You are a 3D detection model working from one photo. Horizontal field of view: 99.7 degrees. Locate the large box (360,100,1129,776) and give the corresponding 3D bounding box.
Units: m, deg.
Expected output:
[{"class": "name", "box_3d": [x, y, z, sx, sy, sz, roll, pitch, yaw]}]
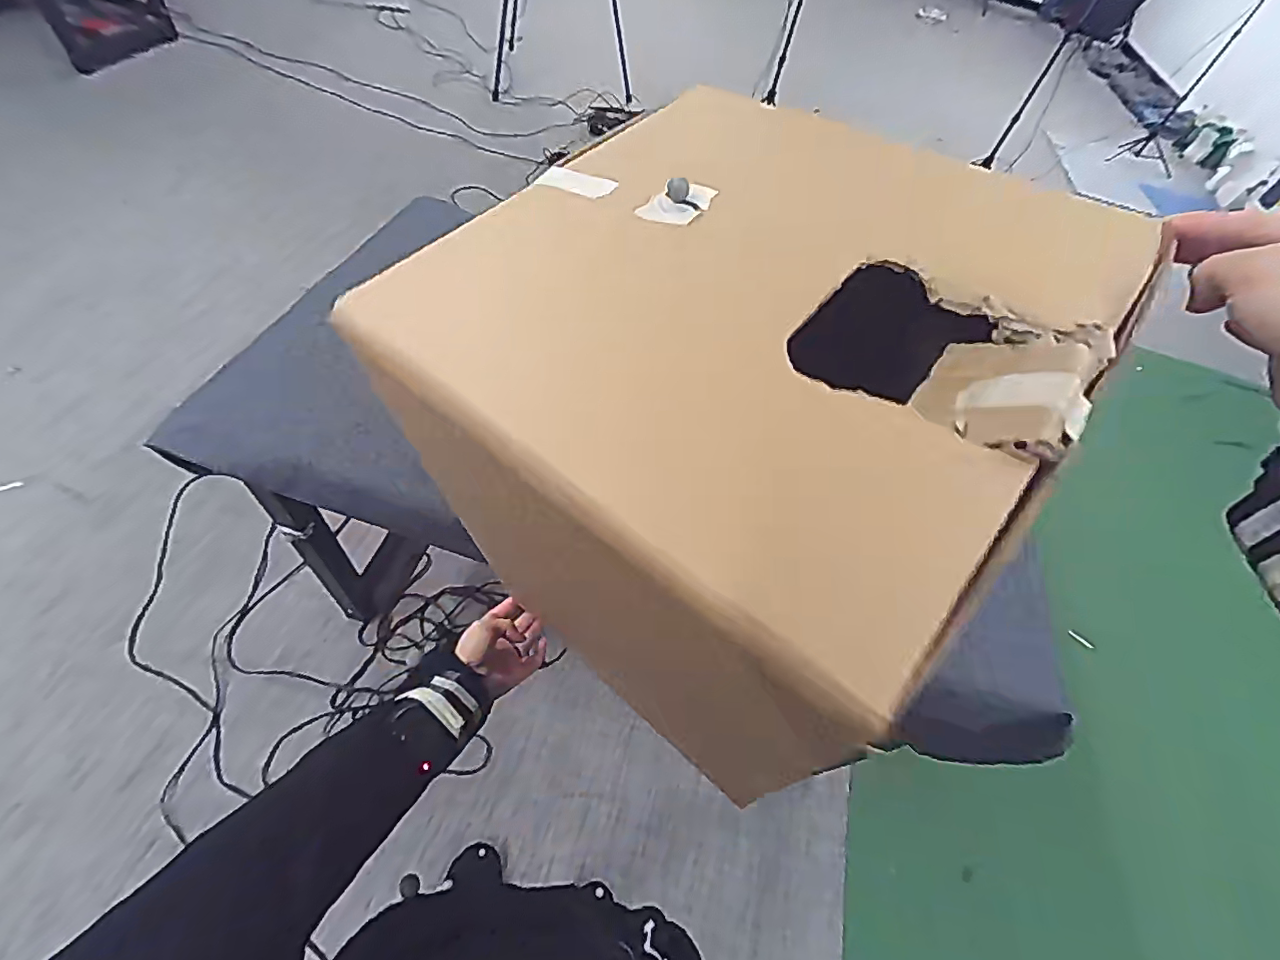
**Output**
[{"class": "large box", "box_3d": [0.065, -0.002, 0.454, 0.320, 0.408, 0.320, 35, 66, 22]}]
